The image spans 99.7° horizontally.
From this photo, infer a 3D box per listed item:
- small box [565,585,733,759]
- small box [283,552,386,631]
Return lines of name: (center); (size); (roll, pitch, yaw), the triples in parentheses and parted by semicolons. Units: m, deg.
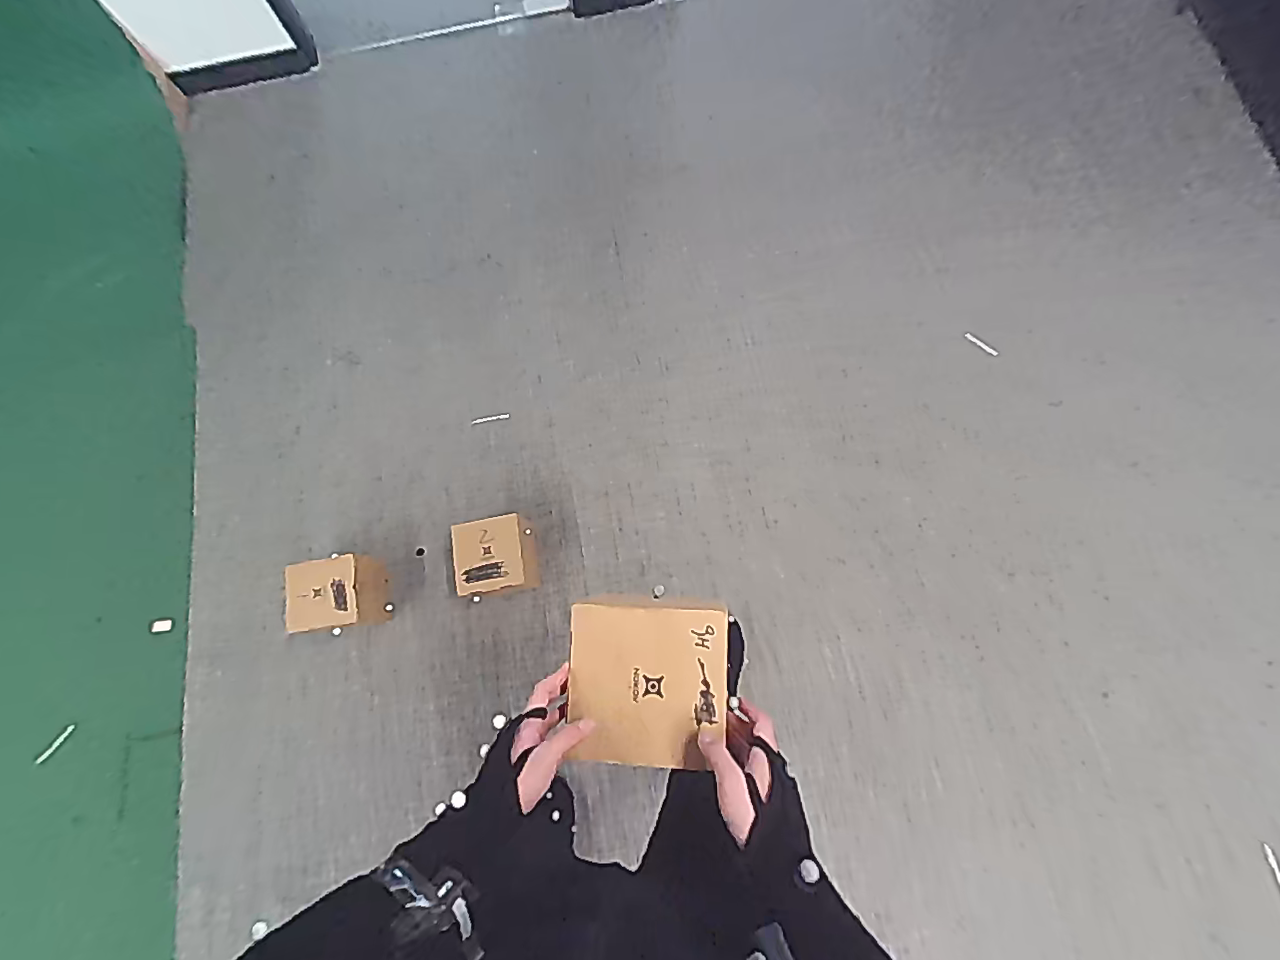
small box: (0.021, 0.215, 0.652); (0.179, 0.176, 0.168); (1, 81, 8)
small box: (-0.758, 0.281, 1.360); (0.179, 0.176, 0.168); (-10, 75, 1)
